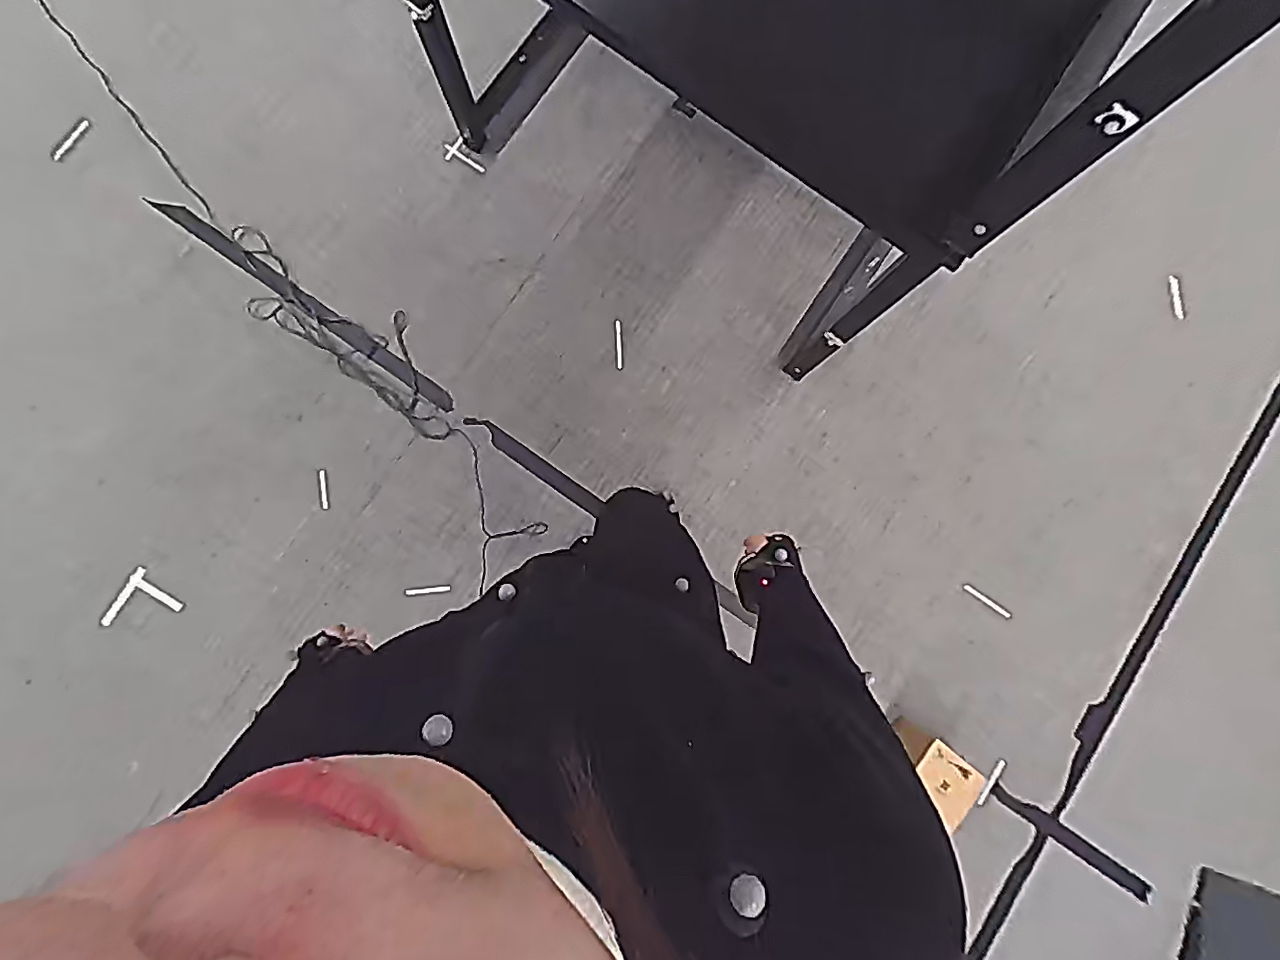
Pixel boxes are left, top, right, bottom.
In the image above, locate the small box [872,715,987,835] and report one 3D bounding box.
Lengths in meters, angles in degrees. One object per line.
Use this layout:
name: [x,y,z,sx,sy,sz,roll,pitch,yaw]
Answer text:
small box: [0.737,0.755,1.403,0.168,0.176,0.179,40,87,1]
